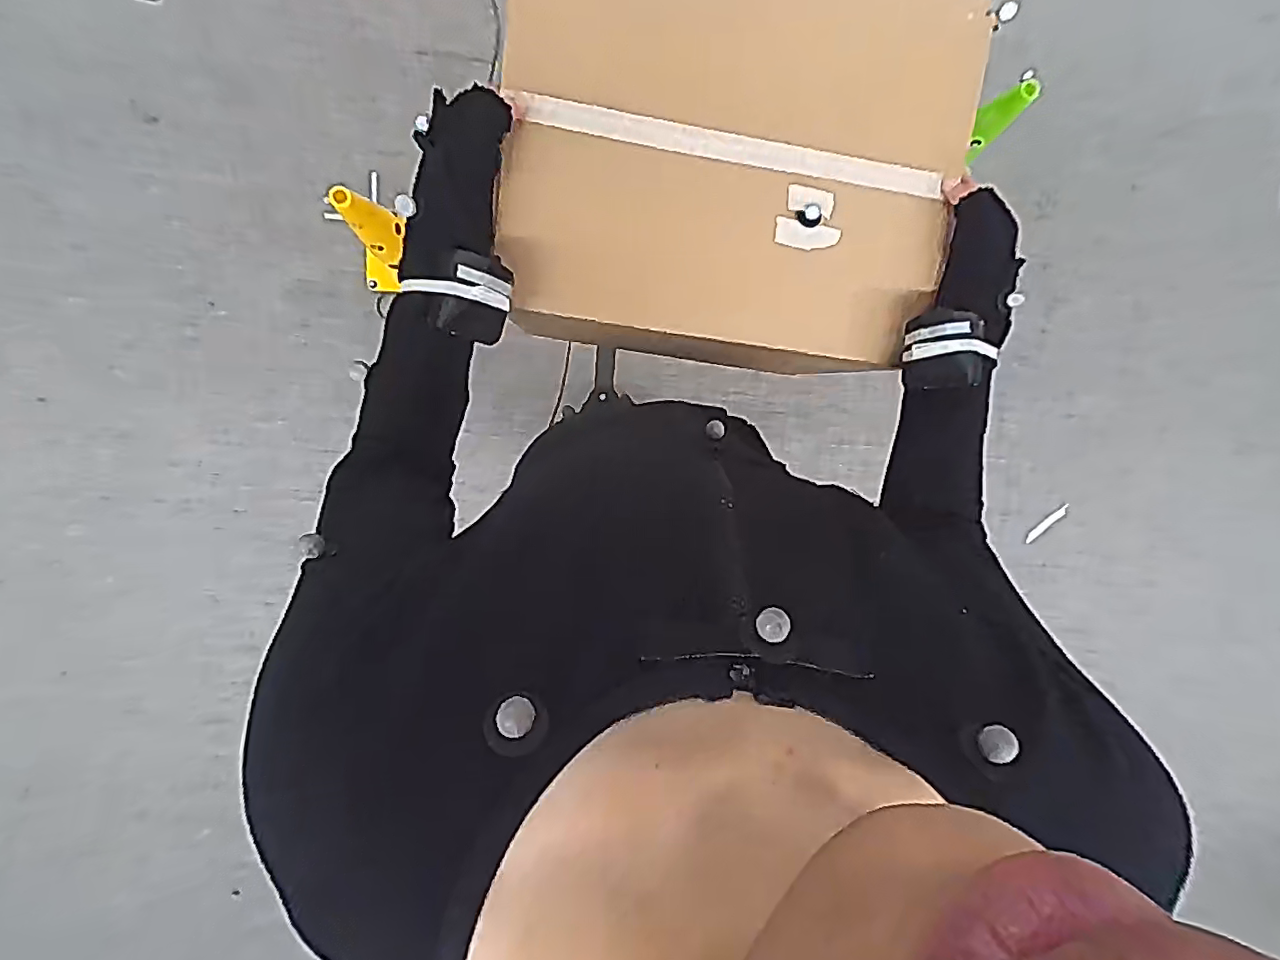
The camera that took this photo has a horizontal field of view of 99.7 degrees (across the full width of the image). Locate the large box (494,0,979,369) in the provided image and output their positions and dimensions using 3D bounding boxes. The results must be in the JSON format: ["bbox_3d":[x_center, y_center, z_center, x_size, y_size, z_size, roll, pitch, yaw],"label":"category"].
[{"bbox_3d":[0.067,-0.309,0.613,0.408,0.320,0.320,6,99,-8],"label":"large box"}]
